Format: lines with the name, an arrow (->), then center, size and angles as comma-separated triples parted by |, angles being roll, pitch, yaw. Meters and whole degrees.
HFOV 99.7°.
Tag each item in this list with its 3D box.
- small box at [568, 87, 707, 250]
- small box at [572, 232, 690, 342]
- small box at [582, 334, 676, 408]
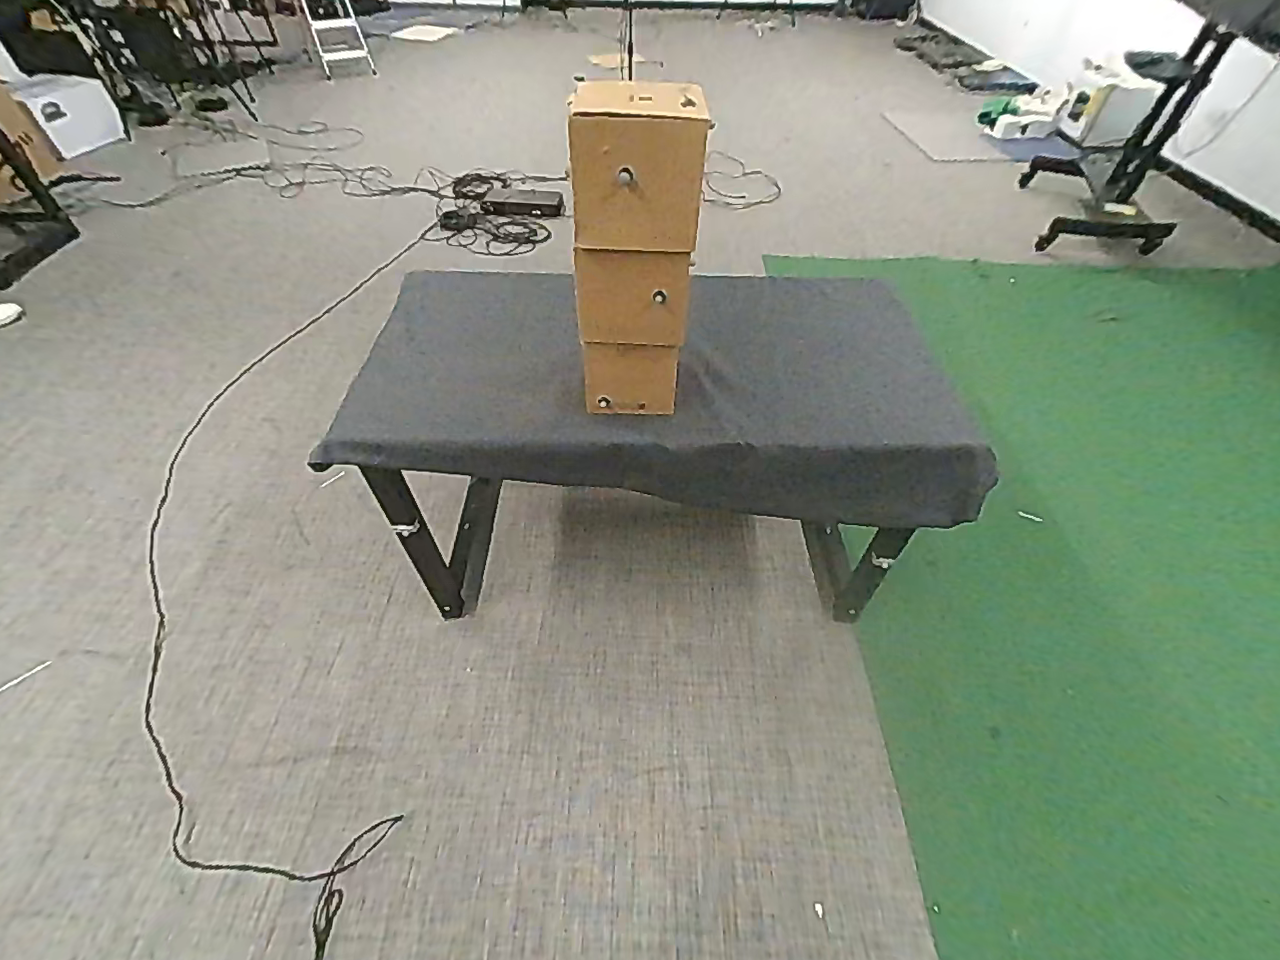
small box -> -0.006, -0.447, 0.779 | 0.179, 0.176, 0.168 | 0, 46, -3
small box -> -0.011, -0.346, 0.905 | 0.179, 0.176, 0.168 | 2, 47, 2
small box -> -0.020, -0.251, 1.037 | 0.168, 0.176, 0.179 | -1, 50, -2
